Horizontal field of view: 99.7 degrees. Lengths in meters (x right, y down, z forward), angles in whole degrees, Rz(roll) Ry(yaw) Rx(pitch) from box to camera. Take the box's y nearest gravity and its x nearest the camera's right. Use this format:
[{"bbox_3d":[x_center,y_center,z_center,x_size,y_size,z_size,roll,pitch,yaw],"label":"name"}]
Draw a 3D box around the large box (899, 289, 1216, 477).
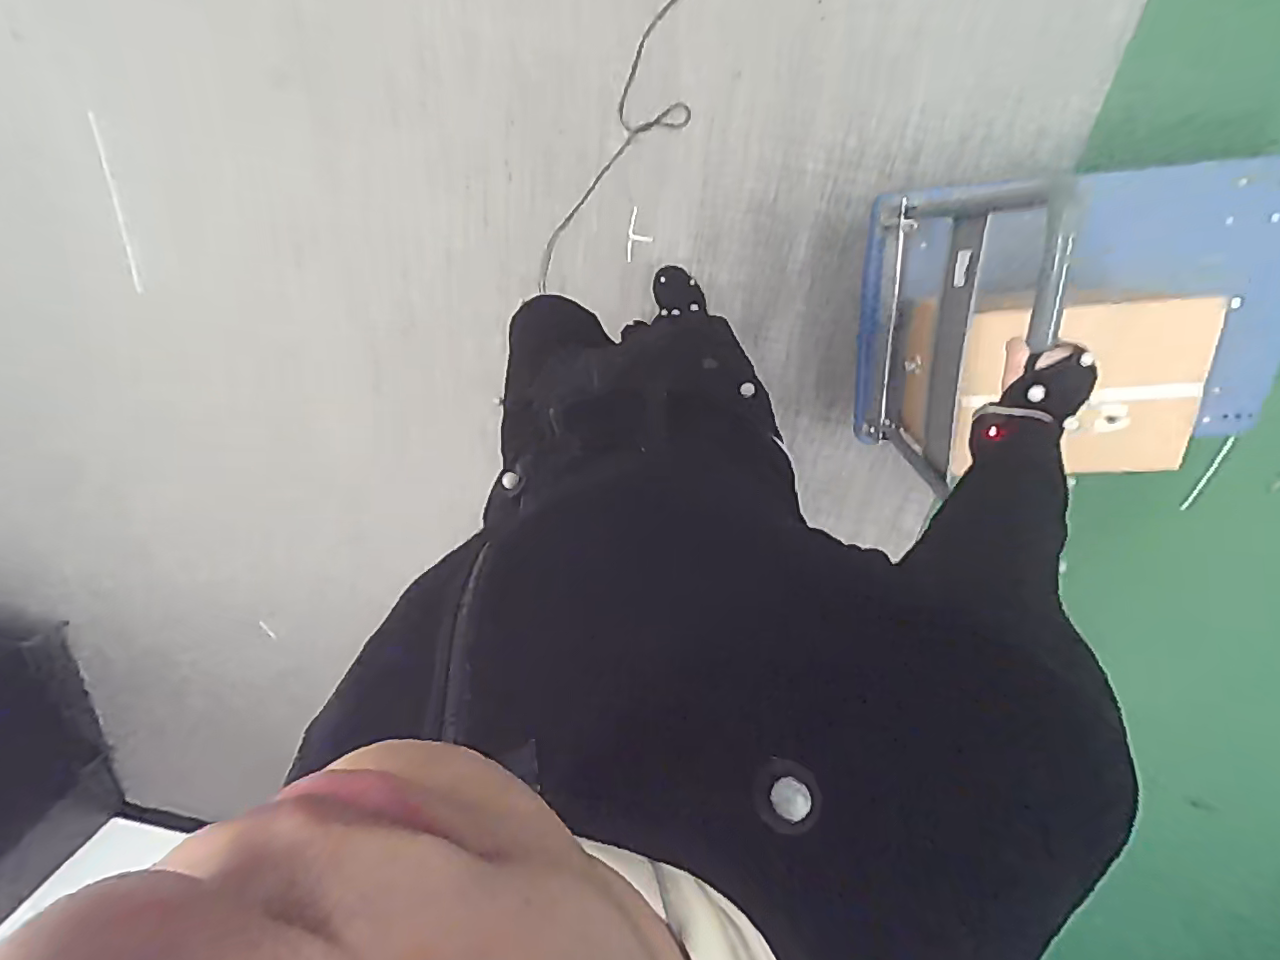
[{"bbox_3d":[0.801,-0.212,1.125,0.408,0.320,0.320,-2,113,8],"label":"large box"}]
